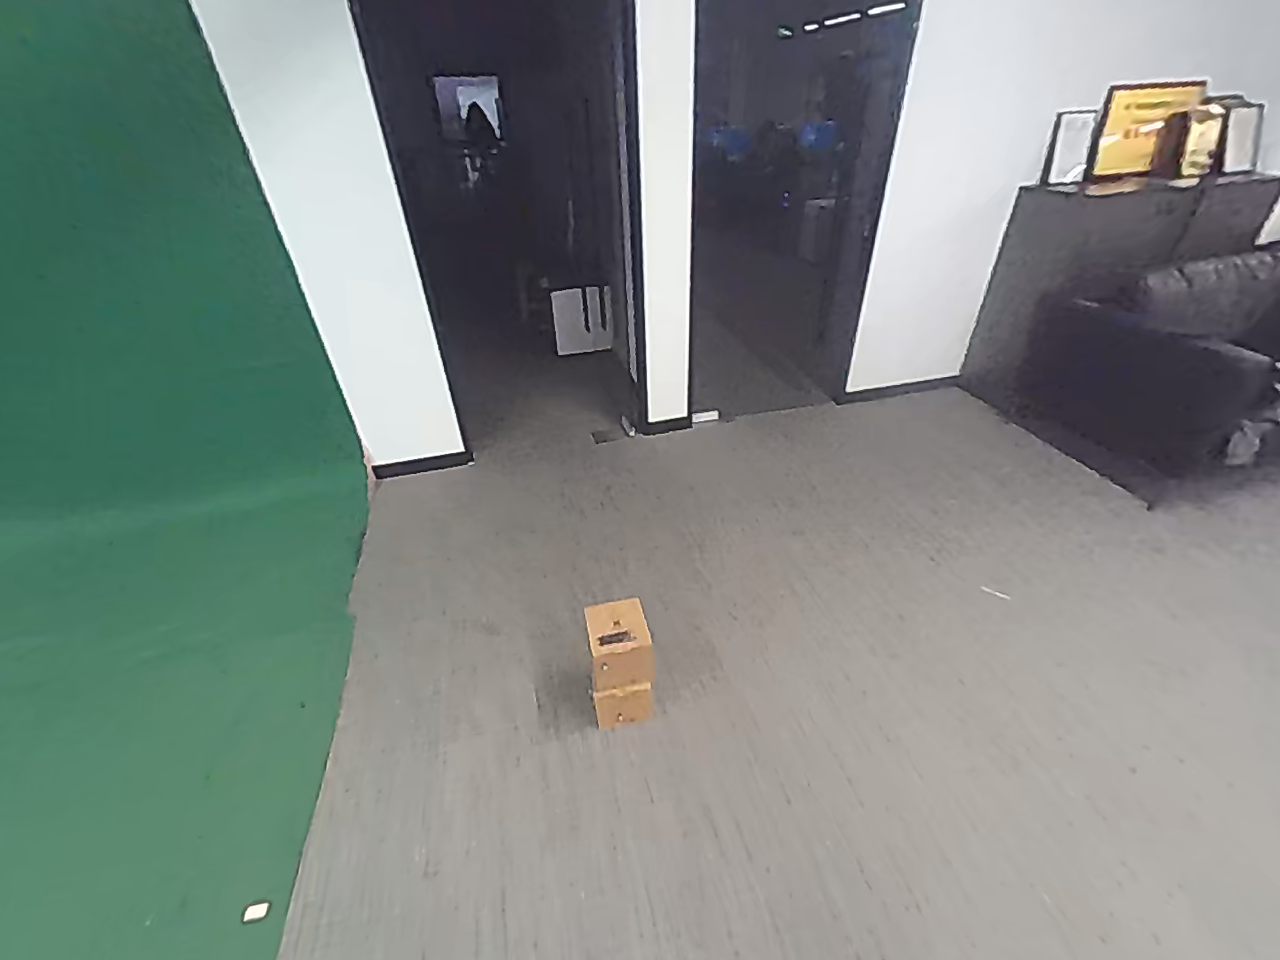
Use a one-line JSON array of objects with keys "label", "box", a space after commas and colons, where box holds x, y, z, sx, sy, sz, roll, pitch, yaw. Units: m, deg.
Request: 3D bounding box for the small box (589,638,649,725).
[{"label": "small box", "box": [-0.067, 0.611, 1.643, 0.168, 0.176, 0.179, -6, 36, -6]}]
